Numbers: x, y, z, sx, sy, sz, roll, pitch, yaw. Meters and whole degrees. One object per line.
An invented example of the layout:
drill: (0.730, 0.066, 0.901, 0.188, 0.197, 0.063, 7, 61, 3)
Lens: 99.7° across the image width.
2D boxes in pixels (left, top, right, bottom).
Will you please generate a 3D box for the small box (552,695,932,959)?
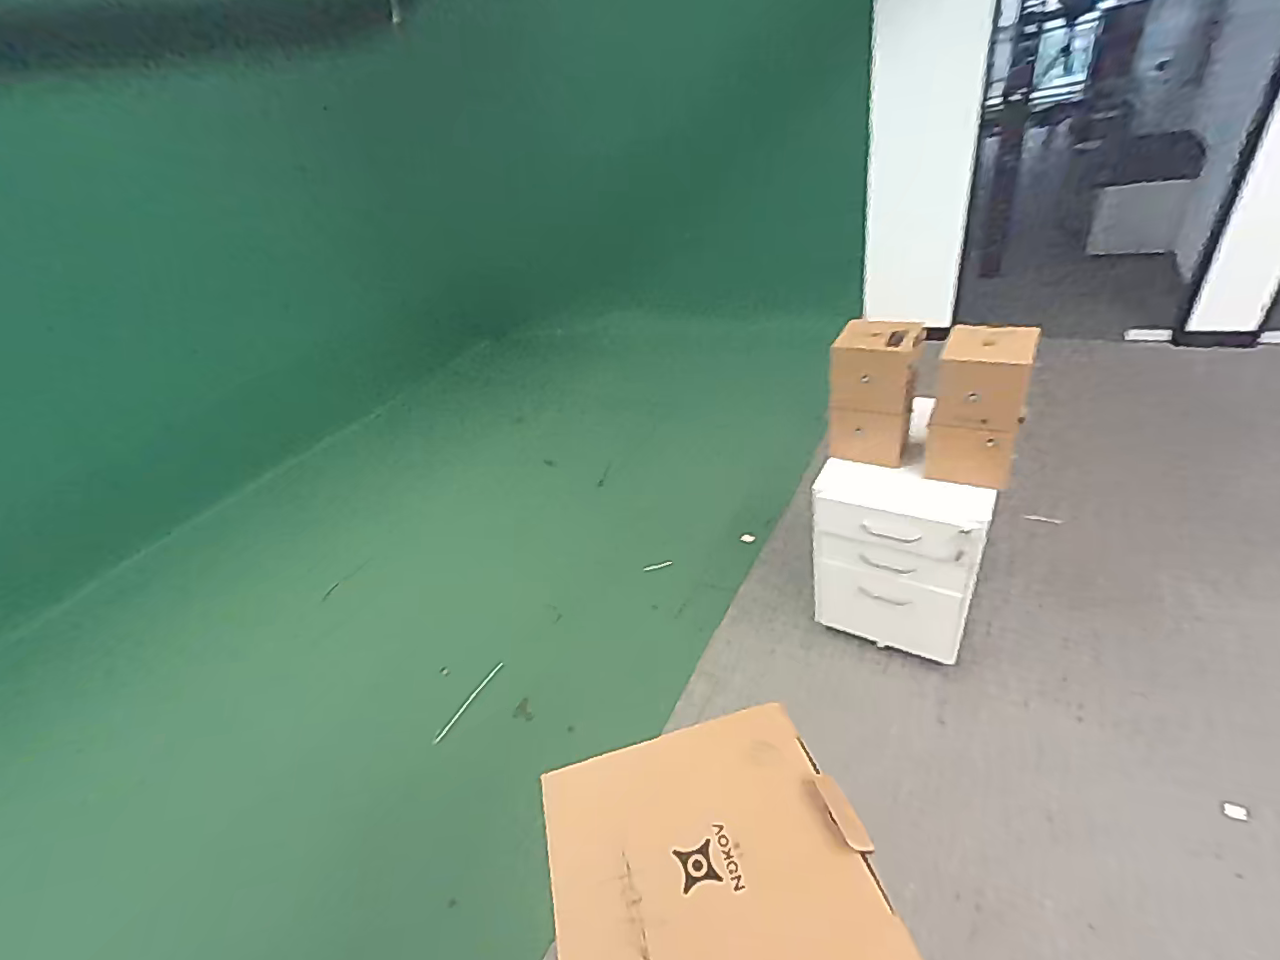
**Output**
small box: (0.052, 0.281, 0.352, 0.179, 0.176, 0.168, -15, 32, -7)

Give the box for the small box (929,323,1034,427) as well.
small box: (0.763, -0.238, 1.216, 0.168, 0.176, 0.179, 14, 44, 33)

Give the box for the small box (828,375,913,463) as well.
small box: (0.612, -0.163, 1.448, 0.179, 0.176, 0.168, 13, 45, 31)
